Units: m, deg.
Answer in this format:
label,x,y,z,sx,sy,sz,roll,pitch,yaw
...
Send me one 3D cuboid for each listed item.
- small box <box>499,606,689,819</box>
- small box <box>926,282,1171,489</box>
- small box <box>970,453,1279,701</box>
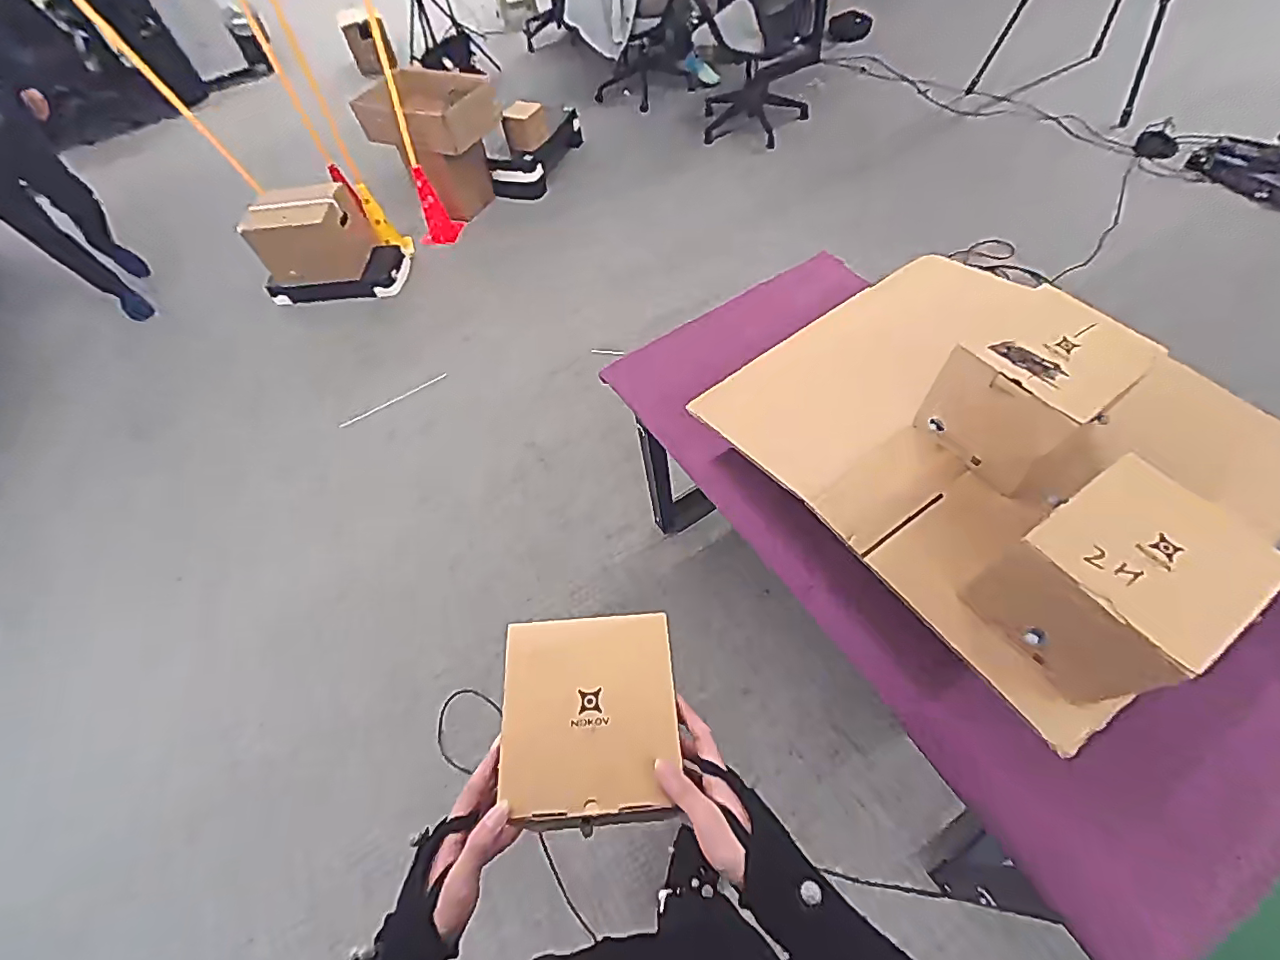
label,x,y,z,sx,sy,sz,roll,pitch,yaw
small box,-0.045,0.250,0.575,0.168,0.176,0.179,-3,56,-3
small box,0.517,-0.119,0.719,0.179,0.176,0.168,-33,62,-14
small box,0.506,0.109,0.584,0.179,0.176,0.168,-33,61,-13
